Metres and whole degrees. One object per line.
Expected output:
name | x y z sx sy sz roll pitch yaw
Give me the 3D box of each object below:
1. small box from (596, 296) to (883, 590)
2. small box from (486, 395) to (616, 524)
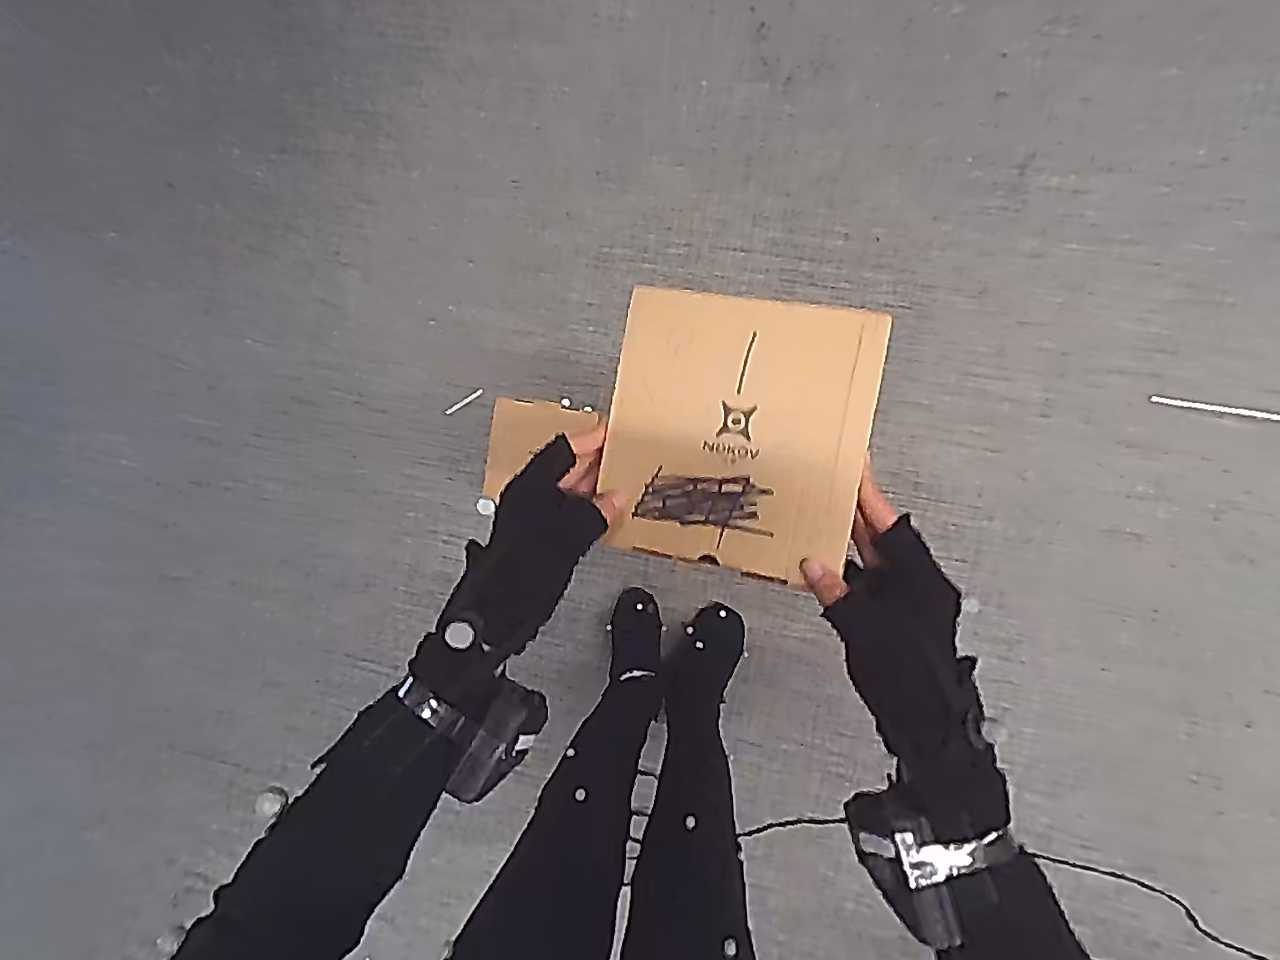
small box | 0.079 -0.028 0.441 0.168 0.176 0.179 11 91 11
small box | -0.136 -0.035 0.908 0.168 0.176 0.179 11 94 8
